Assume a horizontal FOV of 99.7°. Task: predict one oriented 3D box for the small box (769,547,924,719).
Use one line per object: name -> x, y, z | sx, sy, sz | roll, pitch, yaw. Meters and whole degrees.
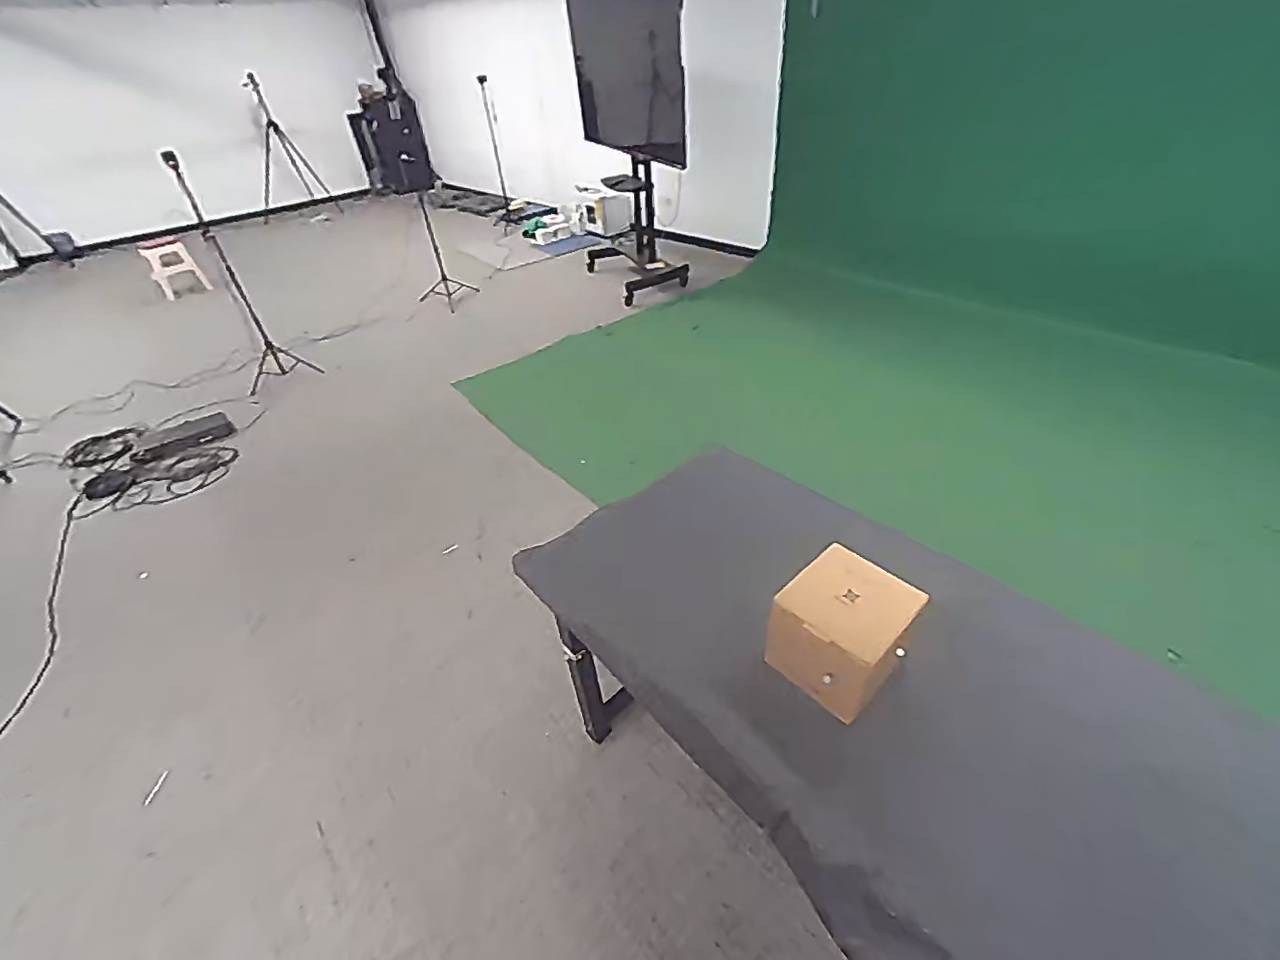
small box -> 0.328, 0.251, 0.888 | 0.179, 0.176, 0.168 | -31, 47, -31
